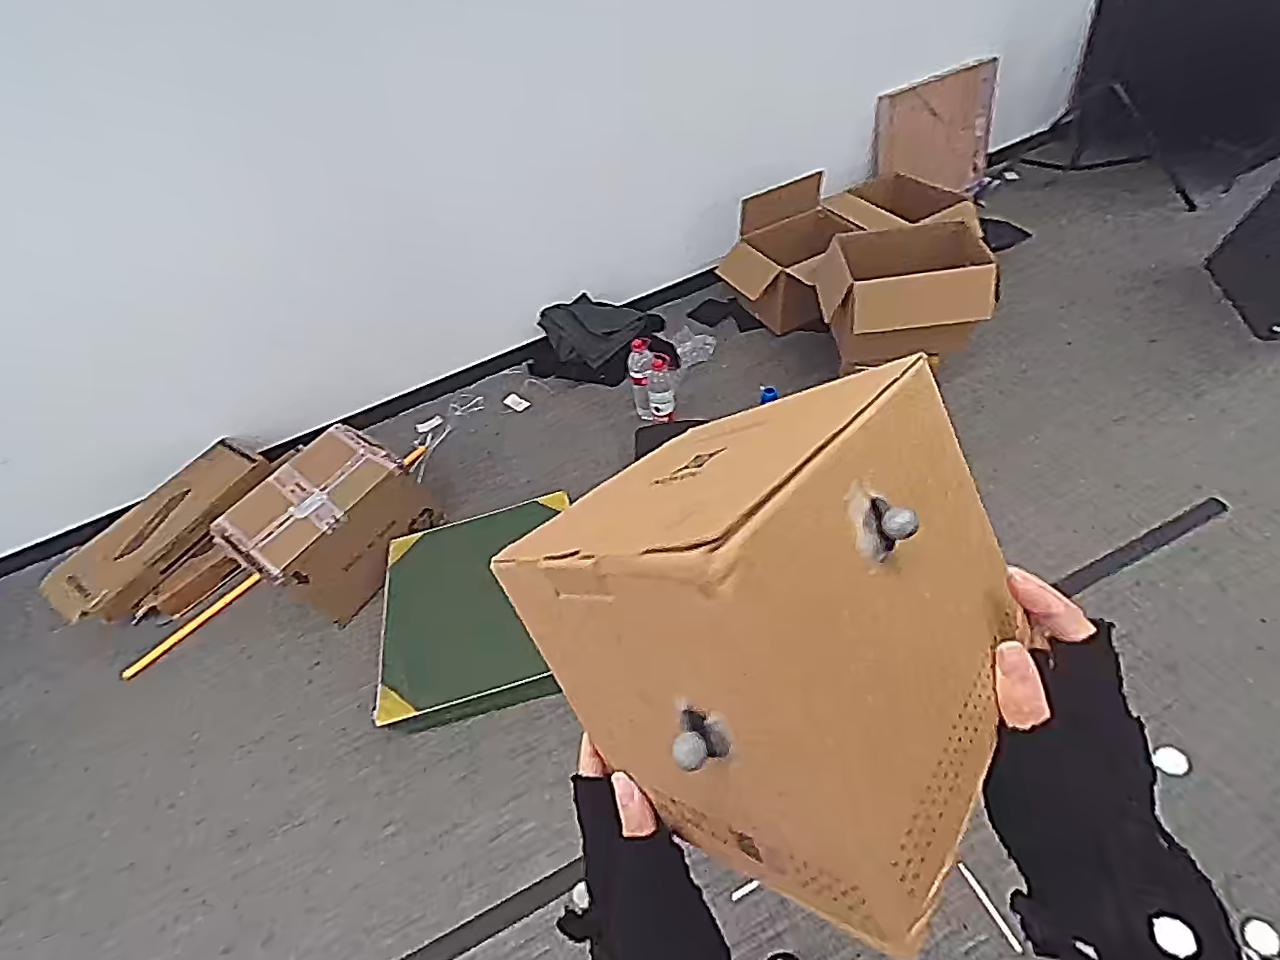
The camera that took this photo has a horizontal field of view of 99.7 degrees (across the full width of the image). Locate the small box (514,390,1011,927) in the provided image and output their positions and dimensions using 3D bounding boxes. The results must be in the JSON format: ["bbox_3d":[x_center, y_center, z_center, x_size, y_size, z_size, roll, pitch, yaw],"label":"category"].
[{"bbox_3d":[0.068,0.078,0.298,0.179,0.176,0.168,-33,11,-34],"label":"small box"}]
